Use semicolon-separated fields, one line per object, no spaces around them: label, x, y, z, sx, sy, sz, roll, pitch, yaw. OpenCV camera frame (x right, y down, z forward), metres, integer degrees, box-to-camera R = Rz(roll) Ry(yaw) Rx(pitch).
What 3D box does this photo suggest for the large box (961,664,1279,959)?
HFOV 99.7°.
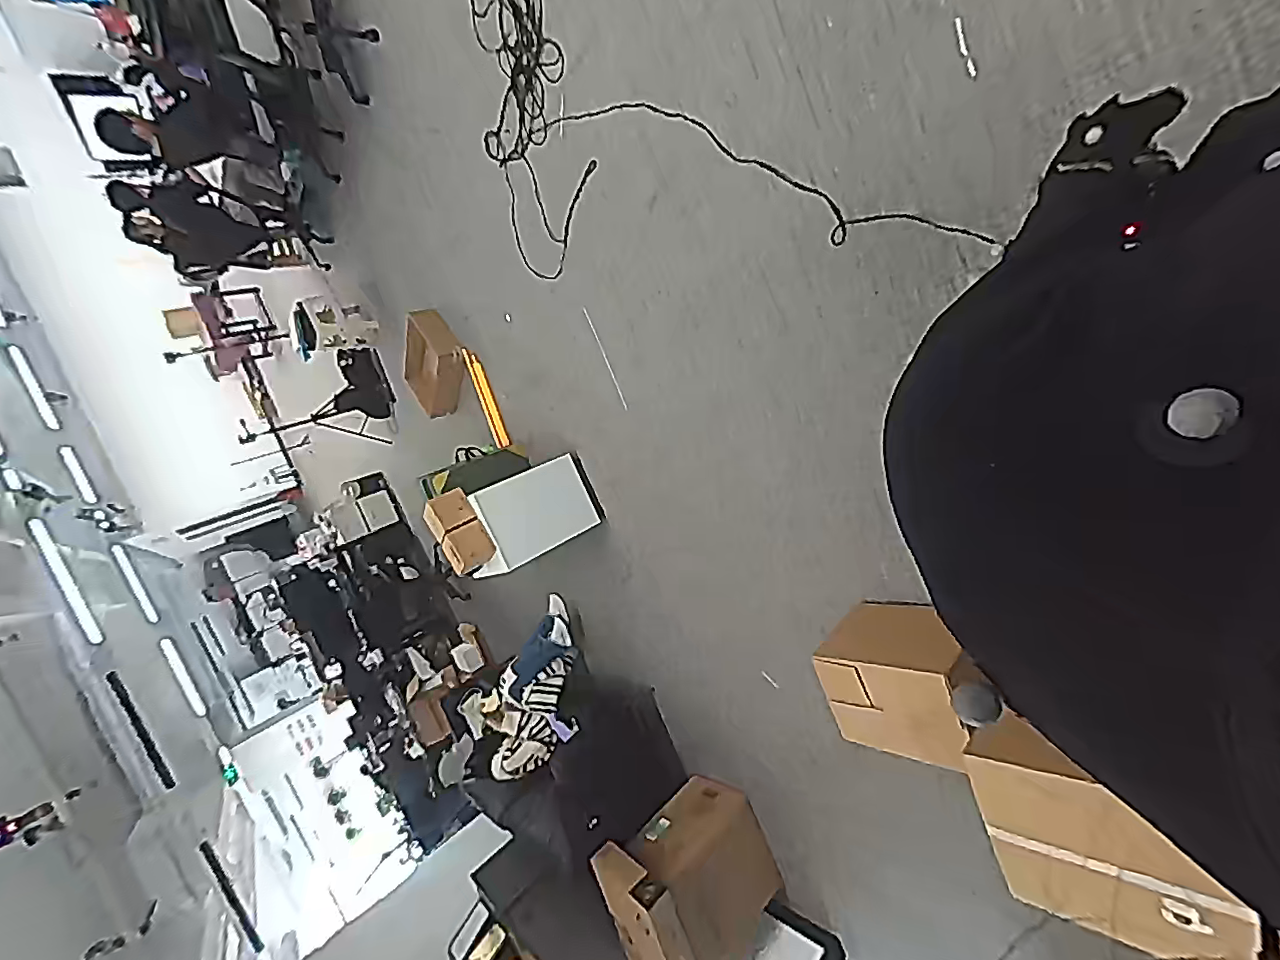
large box;0.885;0.558;0.972;0.408;0.320;0.320;-16;96;53
